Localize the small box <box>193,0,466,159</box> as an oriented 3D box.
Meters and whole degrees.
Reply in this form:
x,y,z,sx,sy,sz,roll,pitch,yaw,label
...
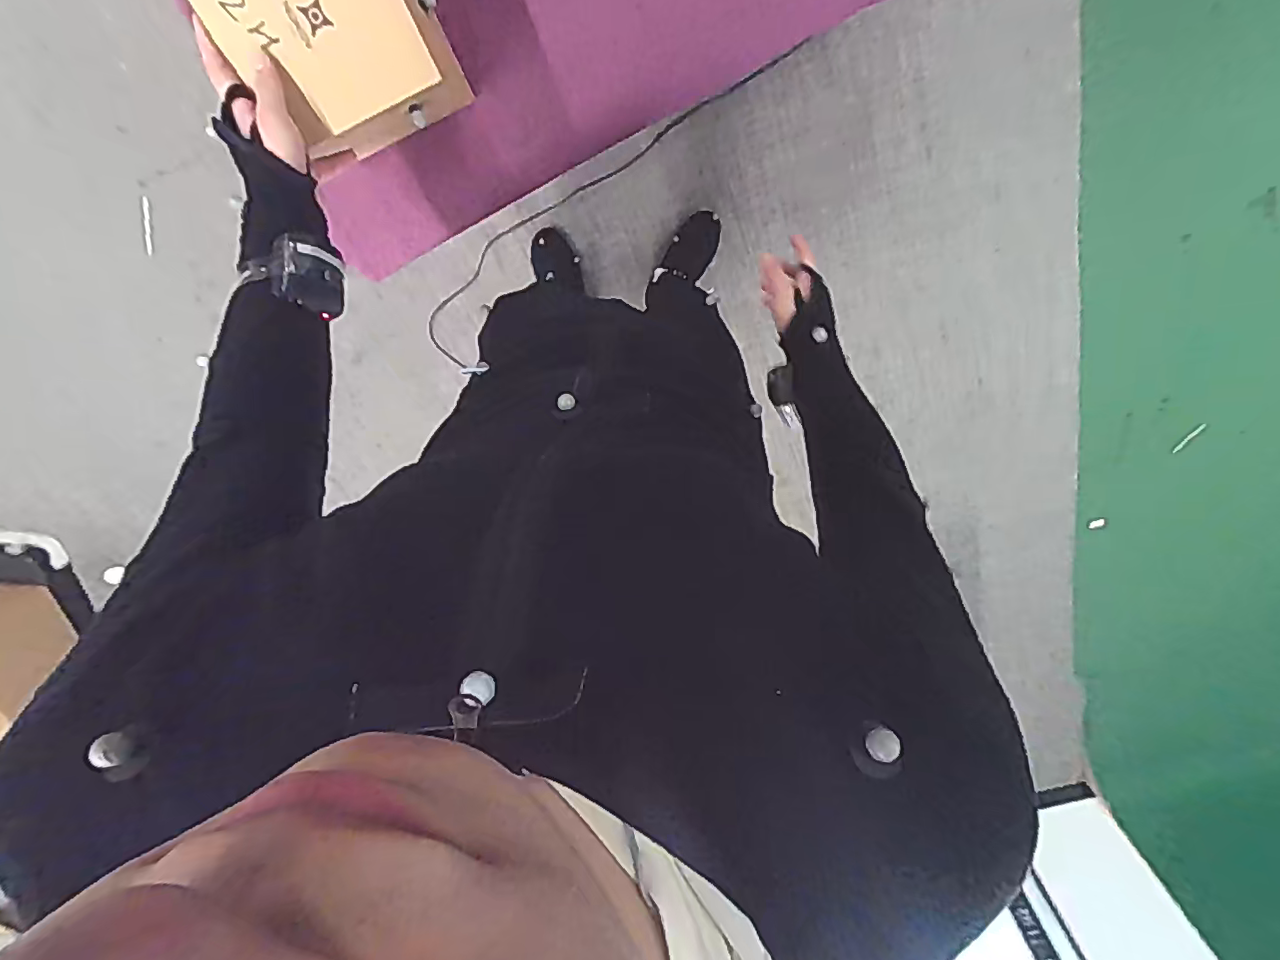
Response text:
x,y,z,sx,sy,sz,roll,pitch,yaw,label
-0.295,-0.449,0.547,0.179,0.176,0.168,-21,119,8,small box
